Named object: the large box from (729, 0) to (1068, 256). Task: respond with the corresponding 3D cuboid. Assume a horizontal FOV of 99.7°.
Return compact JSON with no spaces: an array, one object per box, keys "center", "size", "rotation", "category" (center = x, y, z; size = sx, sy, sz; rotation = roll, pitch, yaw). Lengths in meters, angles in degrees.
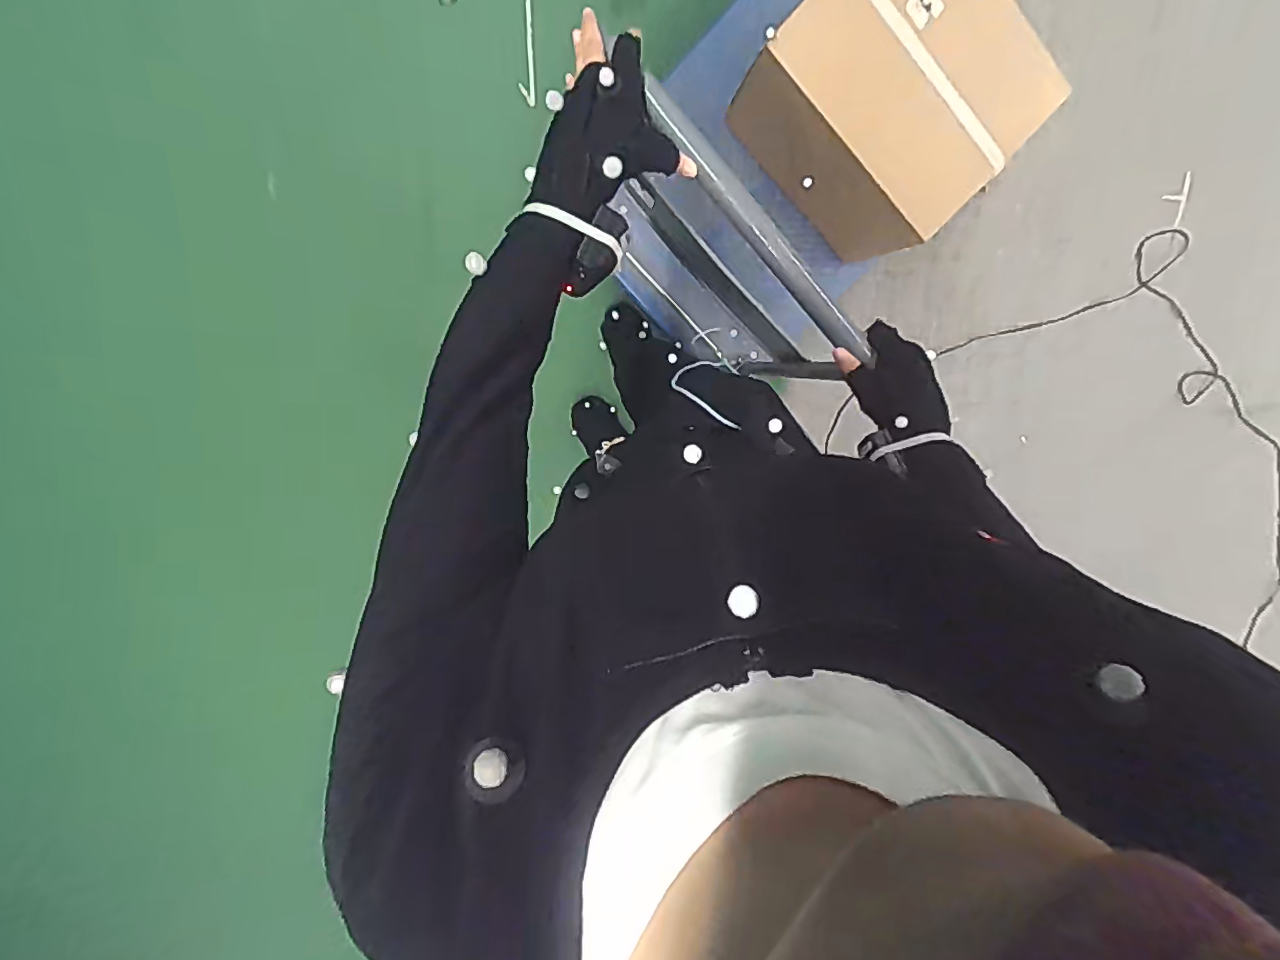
[{"center":[0.432,-0.685,0.989],"size":[0.408,0.320,0.320],"rotation":[42,99,-12],"category":"large box"}]
